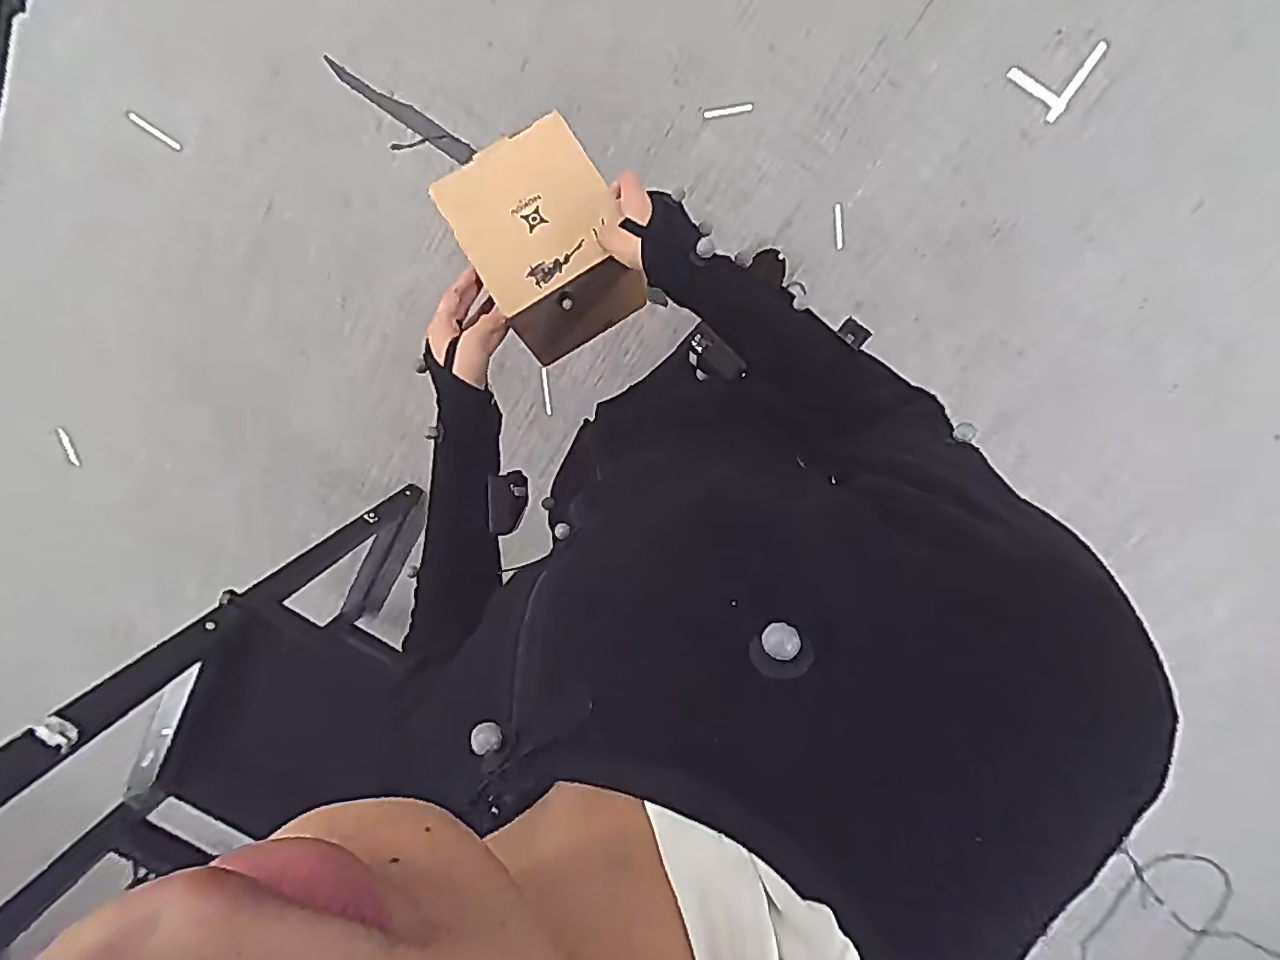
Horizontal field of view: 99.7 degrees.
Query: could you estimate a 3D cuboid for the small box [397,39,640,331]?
[{"bbox_3d":[-0.113,-0.292,0.574,0.168,0.176,0.179,-31,85,0],"label":"small box"}]
